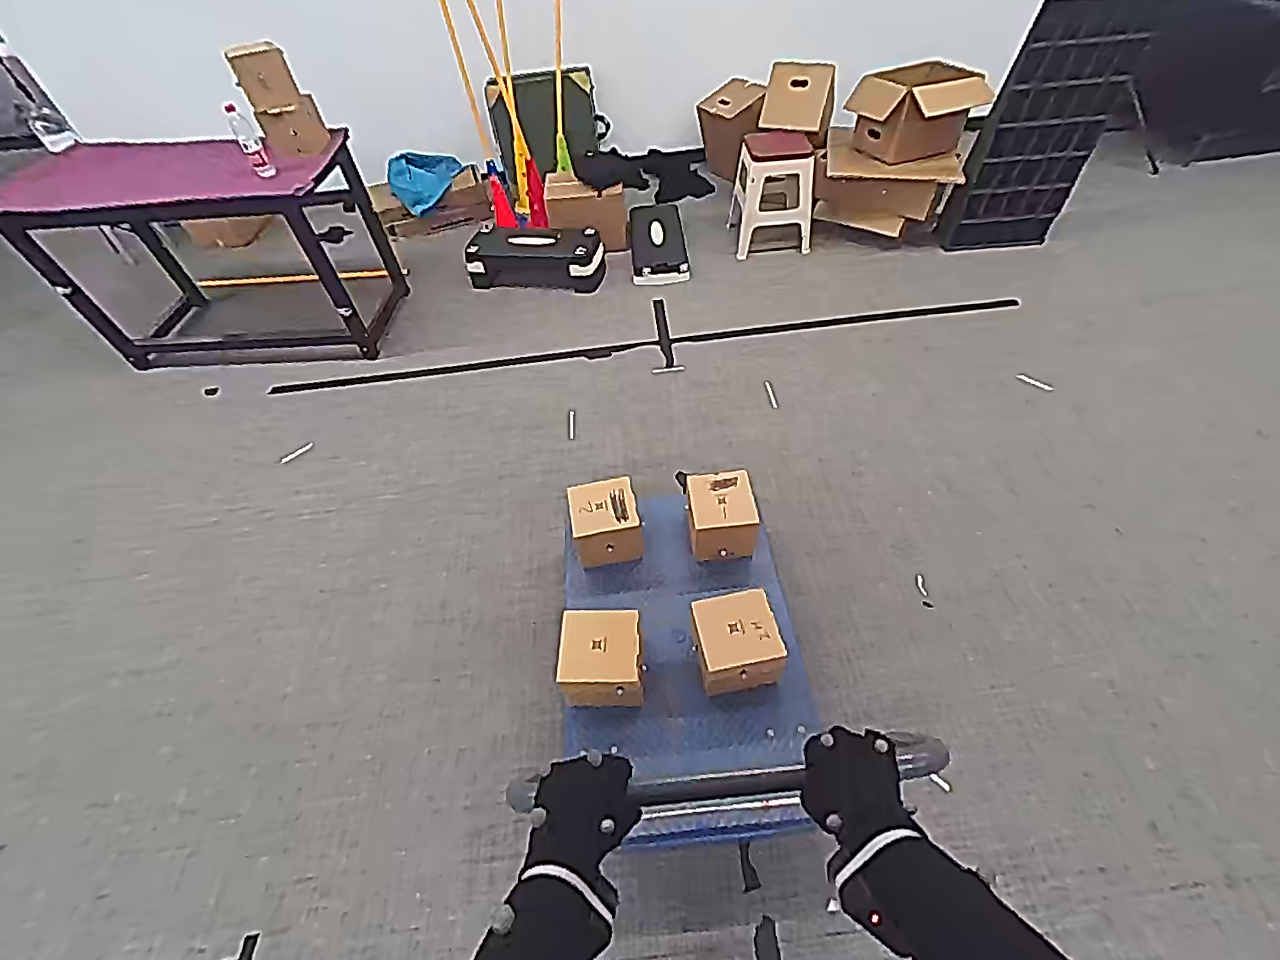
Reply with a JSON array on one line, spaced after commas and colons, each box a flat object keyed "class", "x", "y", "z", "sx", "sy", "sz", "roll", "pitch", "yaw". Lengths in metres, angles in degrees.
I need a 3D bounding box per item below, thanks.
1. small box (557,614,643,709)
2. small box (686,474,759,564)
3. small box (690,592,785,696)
[{"class": "small box", "x": -0.086, "y": 0.423, "z": 1.254, "sx": 0.179, "sy": 0.176, "sz": 0.168, "roll": -1, "pitch": 51, "yaw": 2}, {"class": "small box", "x": 0.218, "y": 0.108, "z": 1.478, "sx": 0.168, "sy": 0.176, "sz": 0.179, "roll": -6, "pitch": 52, "yaw": 0}, {"class": "small box", "x": 0.219, "y": 0.385, "z": 1.256, "sx": 0.179, "sy": 0.176, "sz": 0.168, "roll": -11, "pitch": 52, "yaw": -3}]
